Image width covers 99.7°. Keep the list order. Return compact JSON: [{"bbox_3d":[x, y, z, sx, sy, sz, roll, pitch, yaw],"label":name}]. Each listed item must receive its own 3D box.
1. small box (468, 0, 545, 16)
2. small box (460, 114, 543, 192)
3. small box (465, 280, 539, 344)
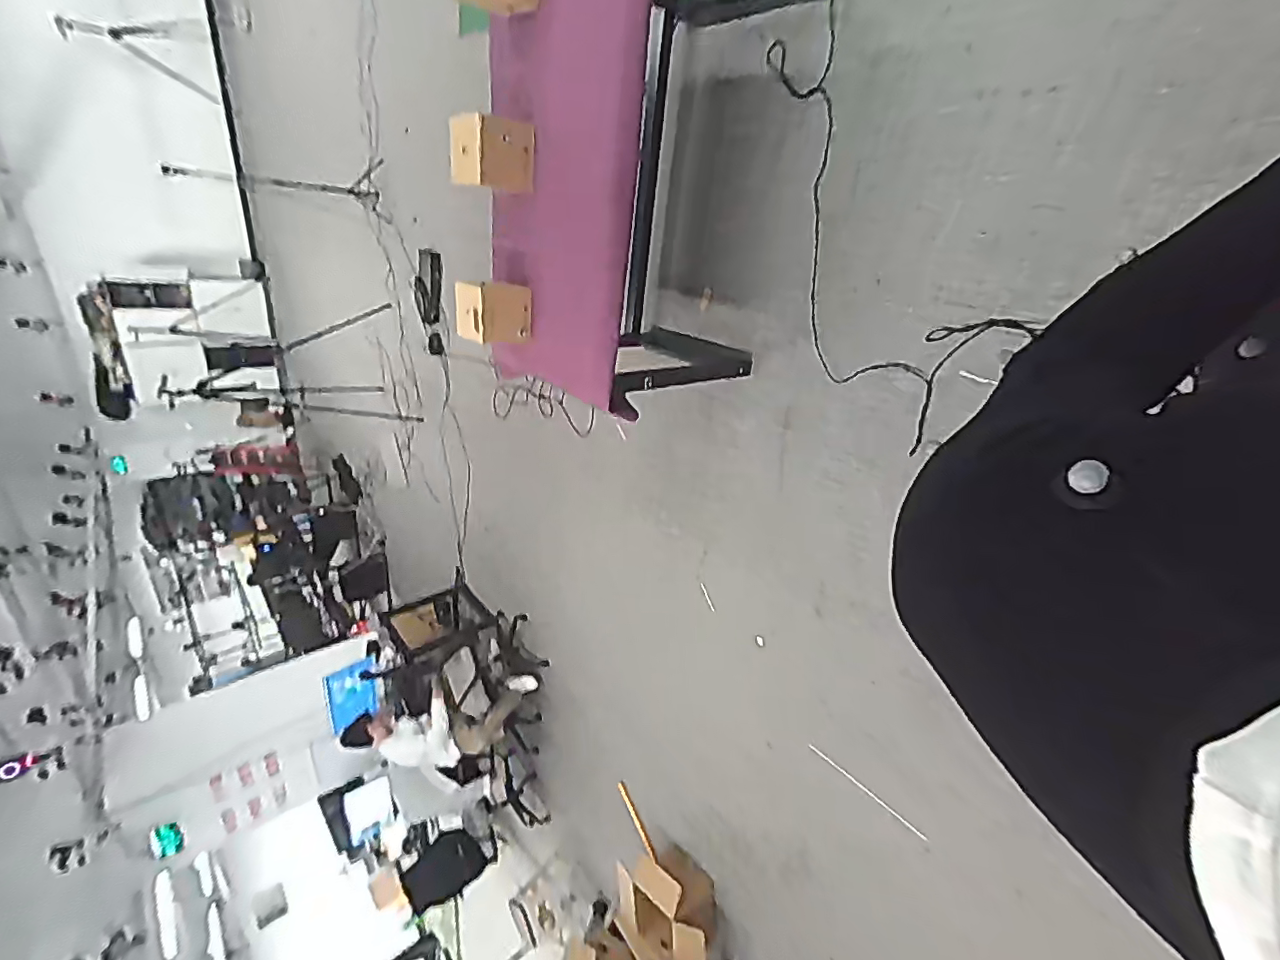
[{"bbox_3d":[-0.335,-1.282,1.332,0.179,0.176,0.168,31,125,39],"label":"small box"},{"bbox_3d":[-0.387,-0.915,1.521,0.179,0.176,0.168,30,124,41],"label":"small box"},{"bbox_3d":[-0.429,-0.531,1.696,0.179,0.176,0.168,29,123,42],"label":"small box"}]
